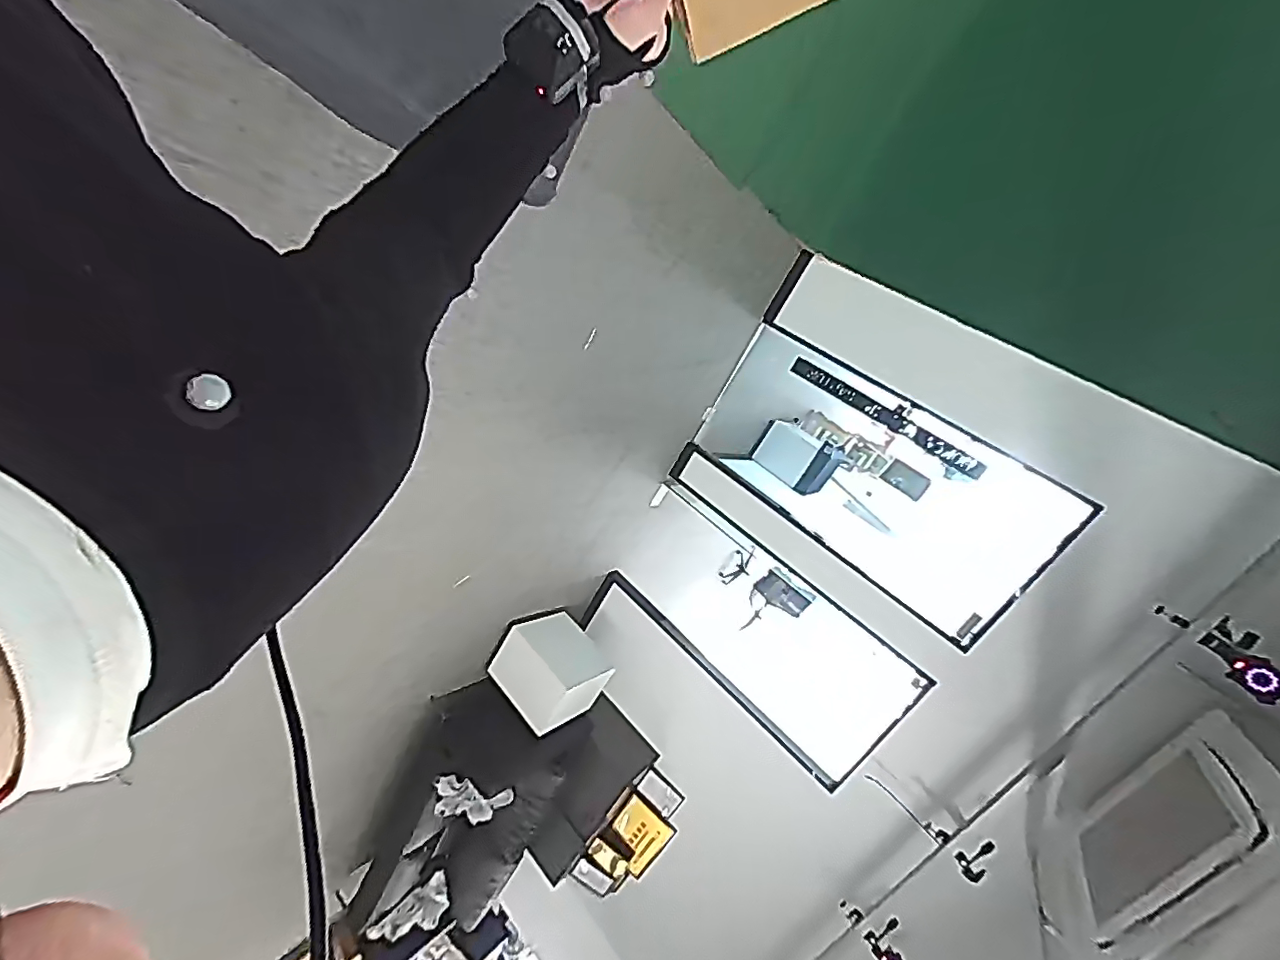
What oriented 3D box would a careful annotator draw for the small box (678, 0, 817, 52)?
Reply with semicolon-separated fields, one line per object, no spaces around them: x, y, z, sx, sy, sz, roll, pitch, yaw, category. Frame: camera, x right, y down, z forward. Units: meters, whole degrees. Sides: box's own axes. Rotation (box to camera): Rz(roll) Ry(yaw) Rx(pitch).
0.095;-0.544;0.473;0.179;0.176;0.168;-18;160;12;small box
